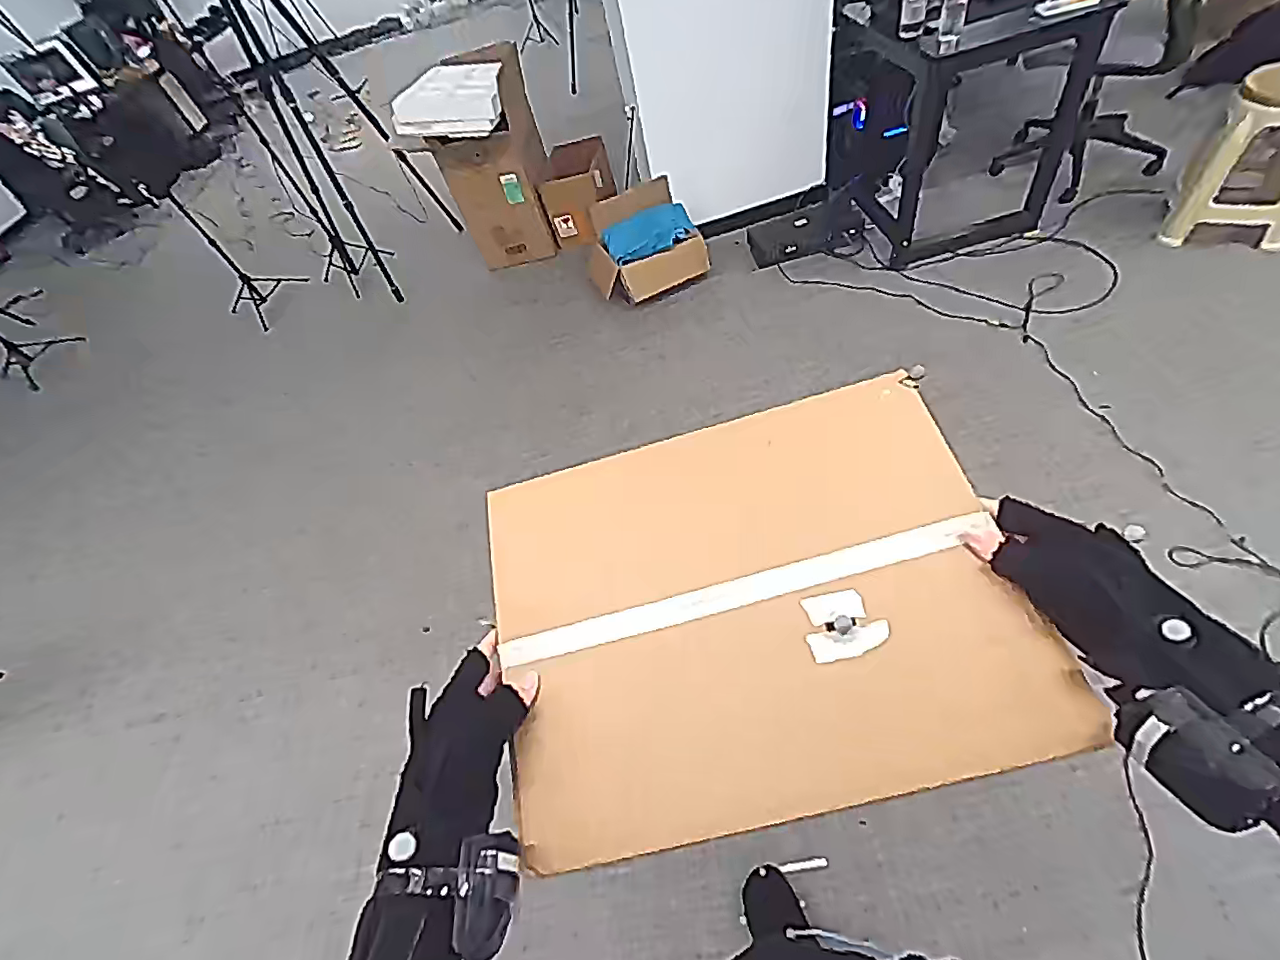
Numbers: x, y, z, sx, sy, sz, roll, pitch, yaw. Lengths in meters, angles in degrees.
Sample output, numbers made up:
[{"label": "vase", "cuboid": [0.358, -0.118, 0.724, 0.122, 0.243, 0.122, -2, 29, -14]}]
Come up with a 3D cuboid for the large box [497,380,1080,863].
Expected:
[{"label": "large box", "cuboid": [0.108, 0.158, 0.580, 0.408, 0.320, 0.320, -17, 62, 4]}]
